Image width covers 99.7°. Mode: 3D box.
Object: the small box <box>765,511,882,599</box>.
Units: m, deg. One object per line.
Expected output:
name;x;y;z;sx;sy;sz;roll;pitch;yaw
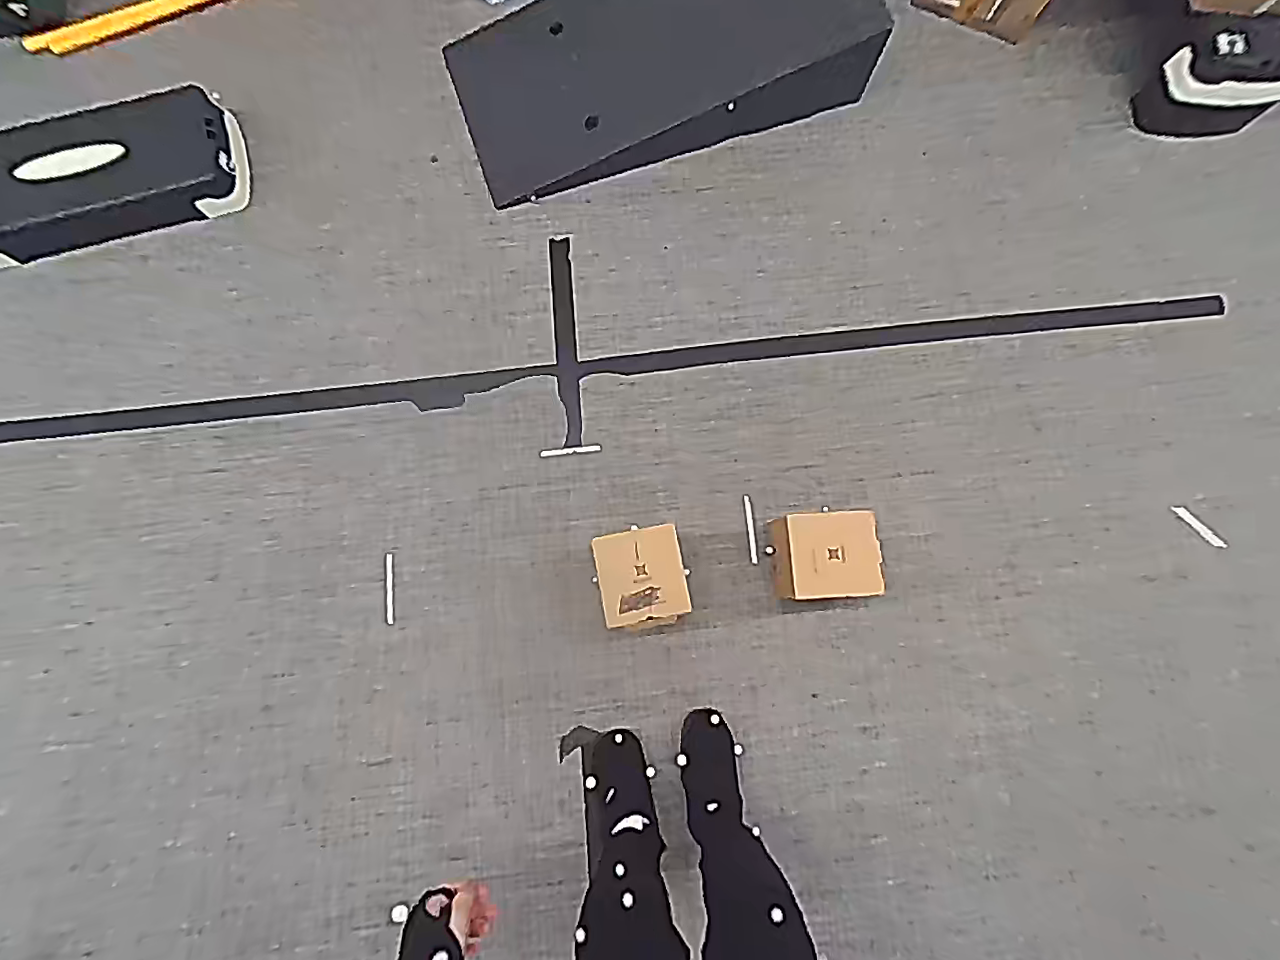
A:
small box;0.368;0.154;1.111;0.179;0.176;0.168;-3;80;-1

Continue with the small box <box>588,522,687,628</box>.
small box;-0.005;0.191;1.096;0.168;0.176;0.179;-11;80;-3
